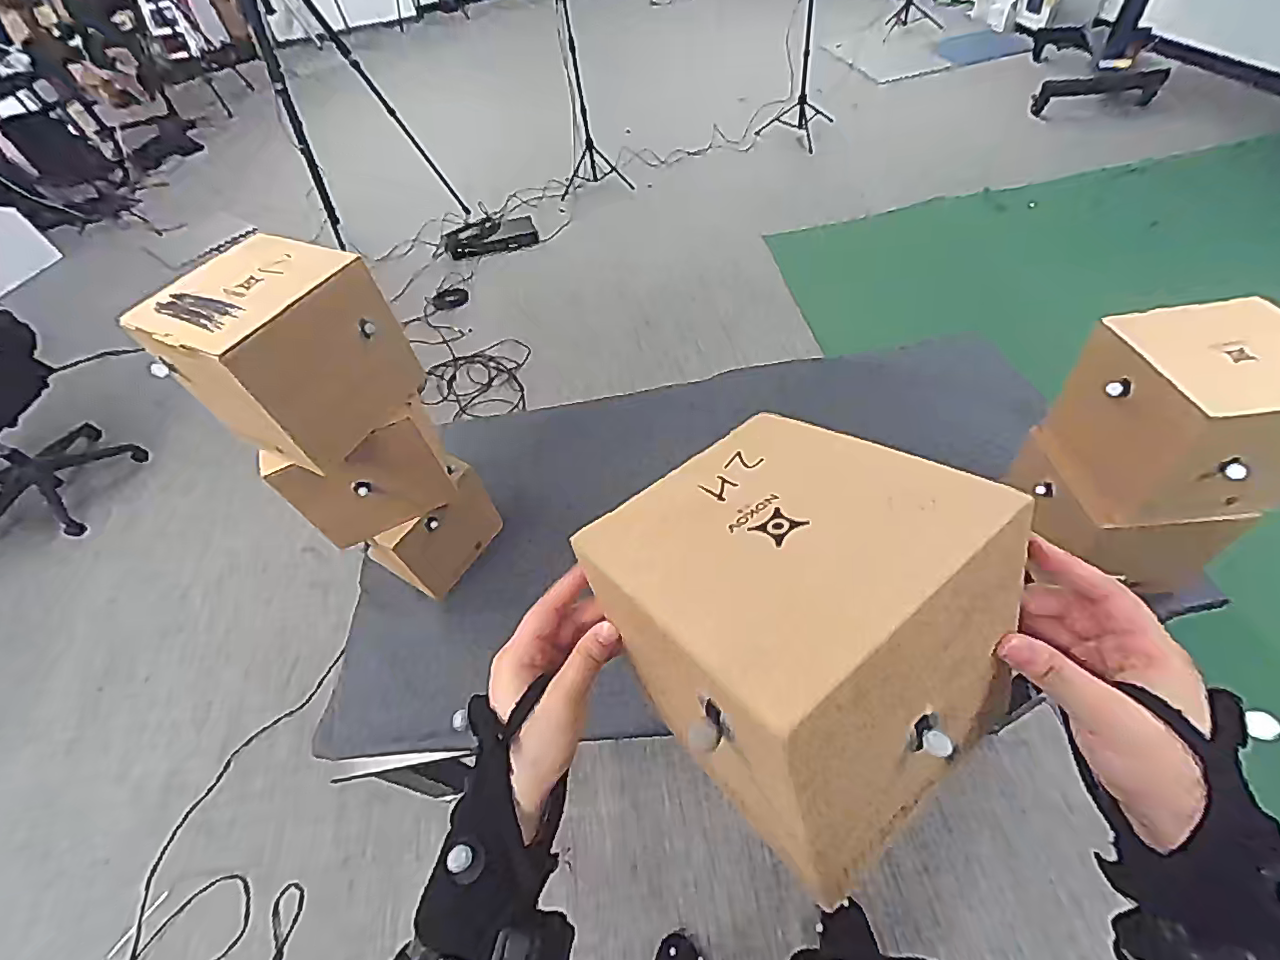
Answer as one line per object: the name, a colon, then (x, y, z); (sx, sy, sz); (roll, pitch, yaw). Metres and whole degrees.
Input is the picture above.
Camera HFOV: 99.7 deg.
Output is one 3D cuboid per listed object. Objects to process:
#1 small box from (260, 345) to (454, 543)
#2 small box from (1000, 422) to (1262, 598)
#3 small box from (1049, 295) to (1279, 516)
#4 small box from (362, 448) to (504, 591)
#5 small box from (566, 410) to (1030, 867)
small box: (-0.374, -0.046, 0.738); (0.179, 0.176, 0.168); (-26, 54, -10)
small box: (0.615, 0.036, 0.715); (0.168, 0.176, 0.179); (-5, 49, 7)
small box: (0.605, -0.073, 0.594); (0.168, 0.176, 0.179); (-7, 47, 6)
small box: (-0.353, 0.051, 0.870); (0.179, 0.176, 0.168); (23, 59, 24)
small box: (0.088, 0.087, 0.325); (0.168, 0.176, 0.179); (-34, 36, -18)
